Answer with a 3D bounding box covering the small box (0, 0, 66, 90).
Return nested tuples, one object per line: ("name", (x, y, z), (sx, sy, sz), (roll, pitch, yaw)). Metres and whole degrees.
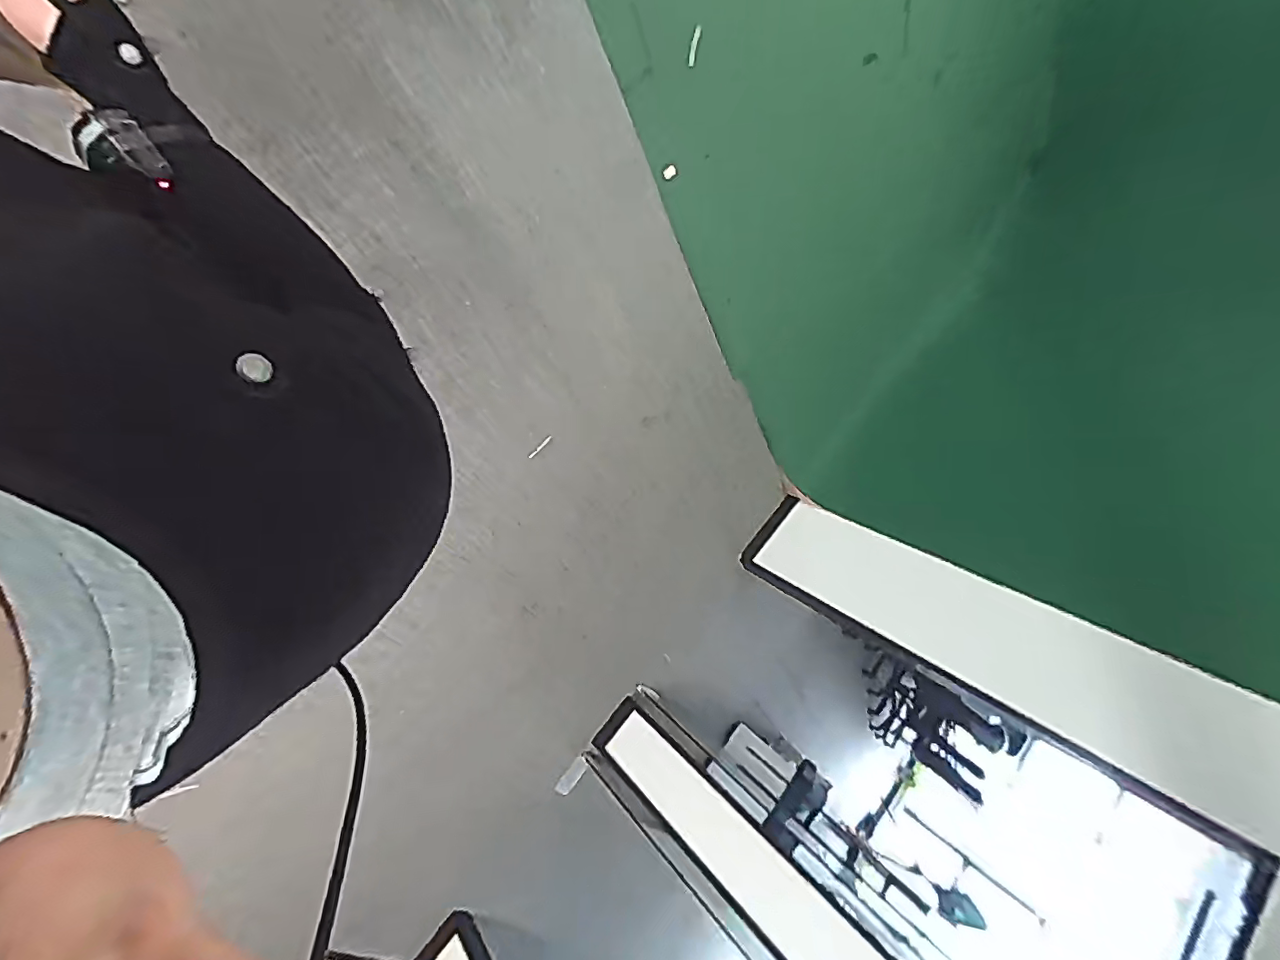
("small box", (-0.577, -0.437, 0.401), (0.168, 0.176, 0.179), (-14, 99, -37))
